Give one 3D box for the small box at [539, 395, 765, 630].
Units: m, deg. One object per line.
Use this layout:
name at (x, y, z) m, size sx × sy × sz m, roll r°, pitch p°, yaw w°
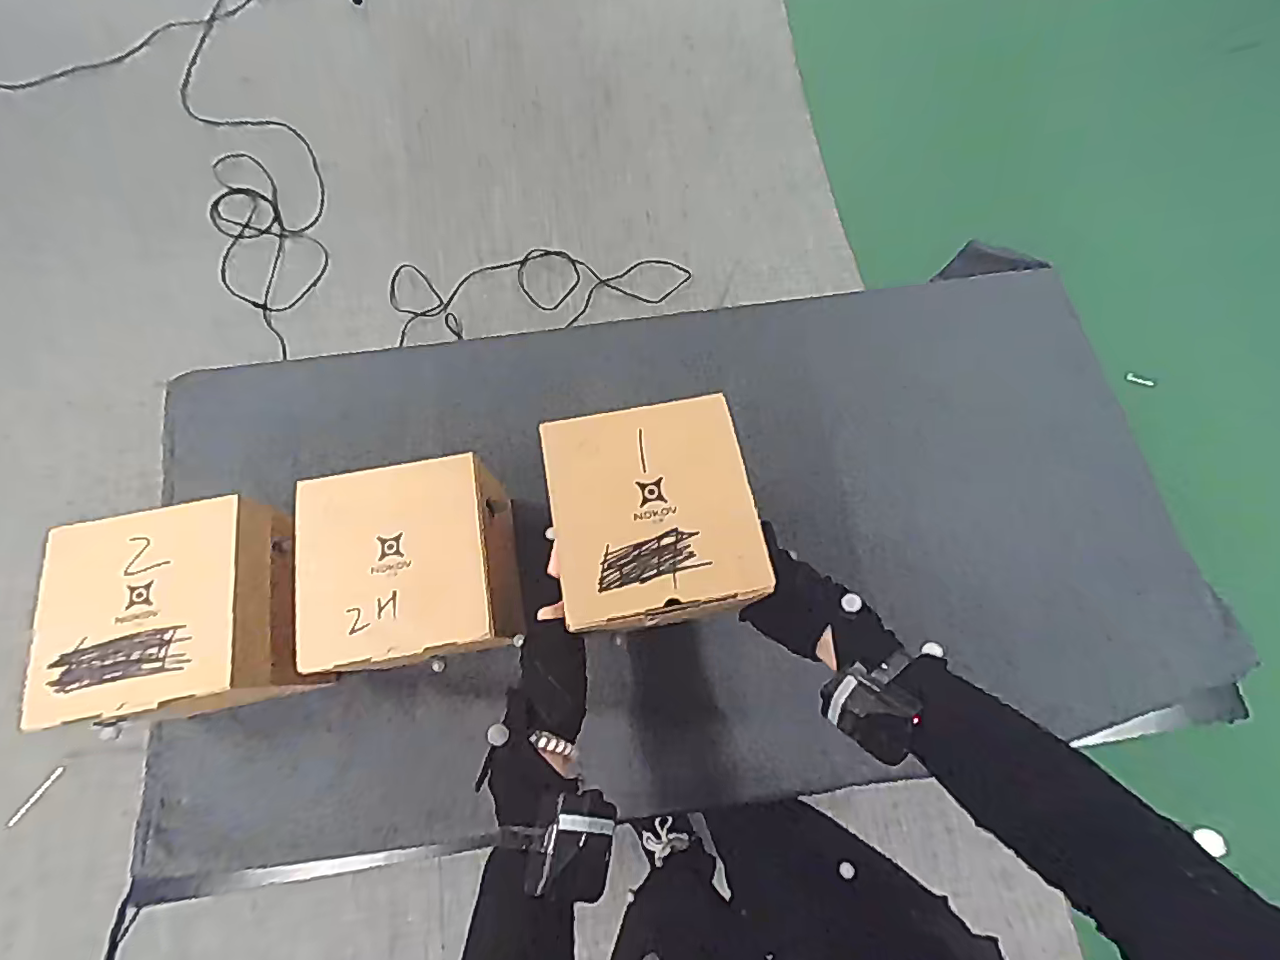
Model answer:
small box at (0.006, 0.043, 0.521) m, size 0.168 × 0.176 × 0.179 m, roll -10°, pitch 70°, yaw -4°
